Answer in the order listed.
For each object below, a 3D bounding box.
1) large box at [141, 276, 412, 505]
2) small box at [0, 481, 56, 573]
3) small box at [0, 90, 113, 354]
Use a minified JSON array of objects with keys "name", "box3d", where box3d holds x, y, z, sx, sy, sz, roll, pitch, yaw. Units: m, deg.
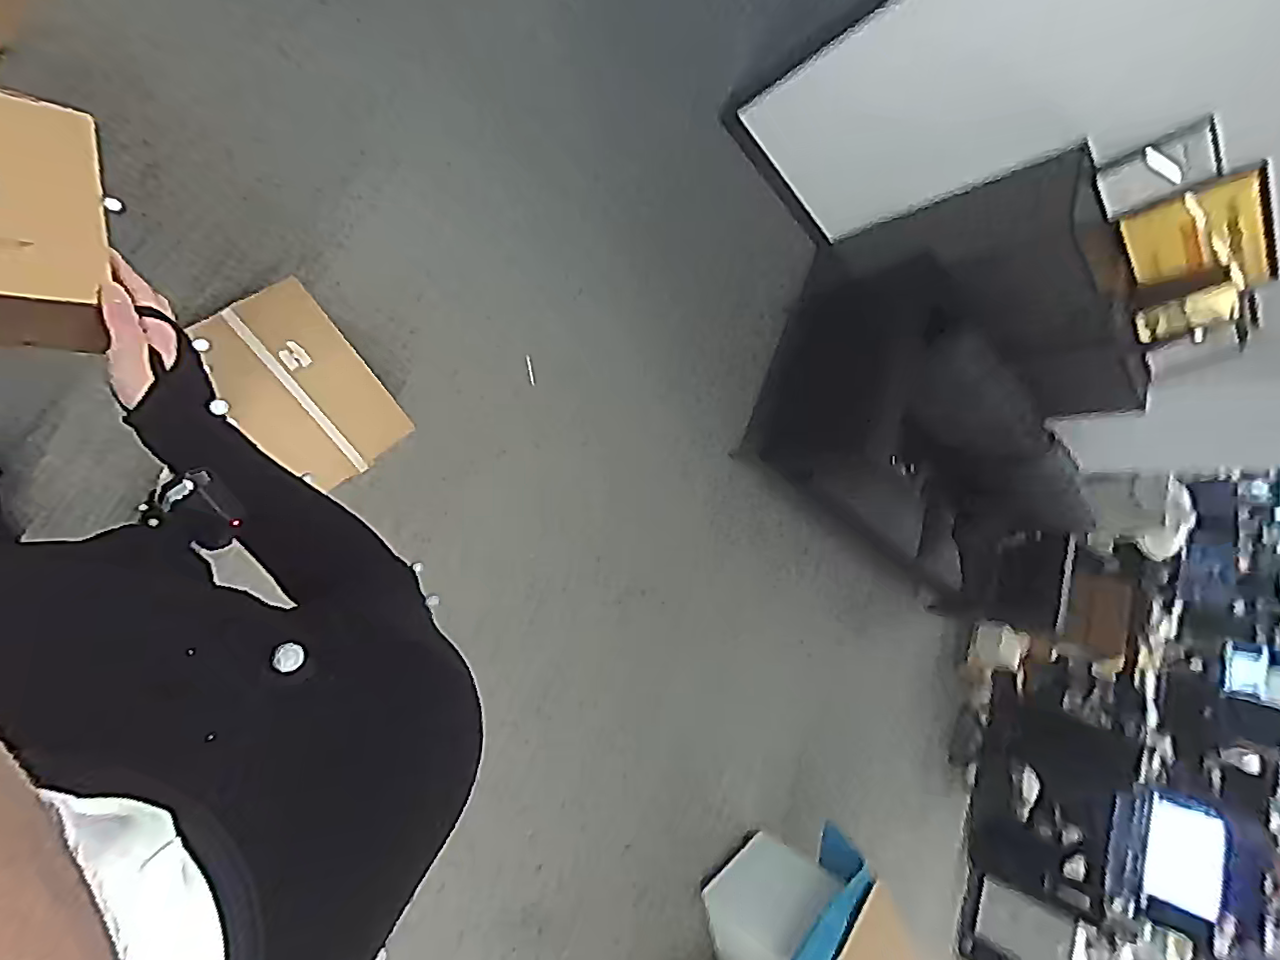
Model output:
[{"name":"large box","box3d":[-0.828,-0.189,1.273,0.320,0.320,0.408,-46,116,-29]},{"name":"small box","box3d":[-1.279,0.069,1.013,0.179,0.176,0.168,33,67,-28]},{"name":"small box","box3d":[-0.592,-0.224,0.477,0.168,0.176,0.179,-8,91,-45]}]
